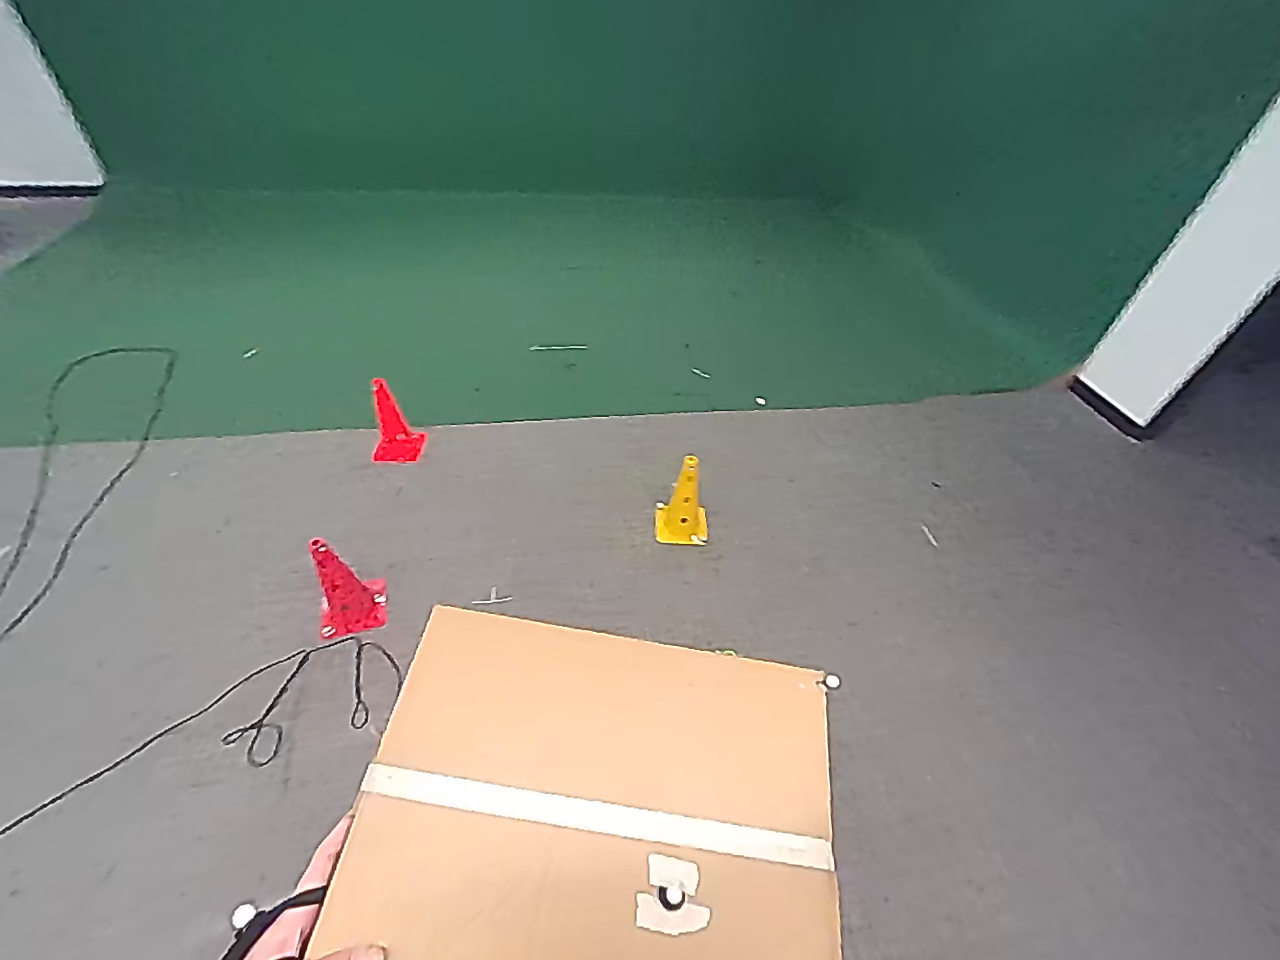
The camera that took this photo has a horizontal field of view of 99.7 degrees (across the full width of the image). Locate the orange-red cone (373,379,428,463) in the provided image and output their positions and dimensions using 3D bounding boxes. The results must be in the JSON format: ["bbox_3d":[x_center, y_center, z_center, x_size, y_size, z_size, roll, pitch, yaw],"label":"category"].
[{"bbox_3d":[-1.060,-0.266,2.290,0.199,0.360,0.198,1,44,-2],"label":"orange-red cone"}]

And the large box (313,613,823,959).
[{"bbox_3d":[-0.054,0.372,0.601,0.408,0.320,0.320,9,57,-1],"label":"large box"}]
